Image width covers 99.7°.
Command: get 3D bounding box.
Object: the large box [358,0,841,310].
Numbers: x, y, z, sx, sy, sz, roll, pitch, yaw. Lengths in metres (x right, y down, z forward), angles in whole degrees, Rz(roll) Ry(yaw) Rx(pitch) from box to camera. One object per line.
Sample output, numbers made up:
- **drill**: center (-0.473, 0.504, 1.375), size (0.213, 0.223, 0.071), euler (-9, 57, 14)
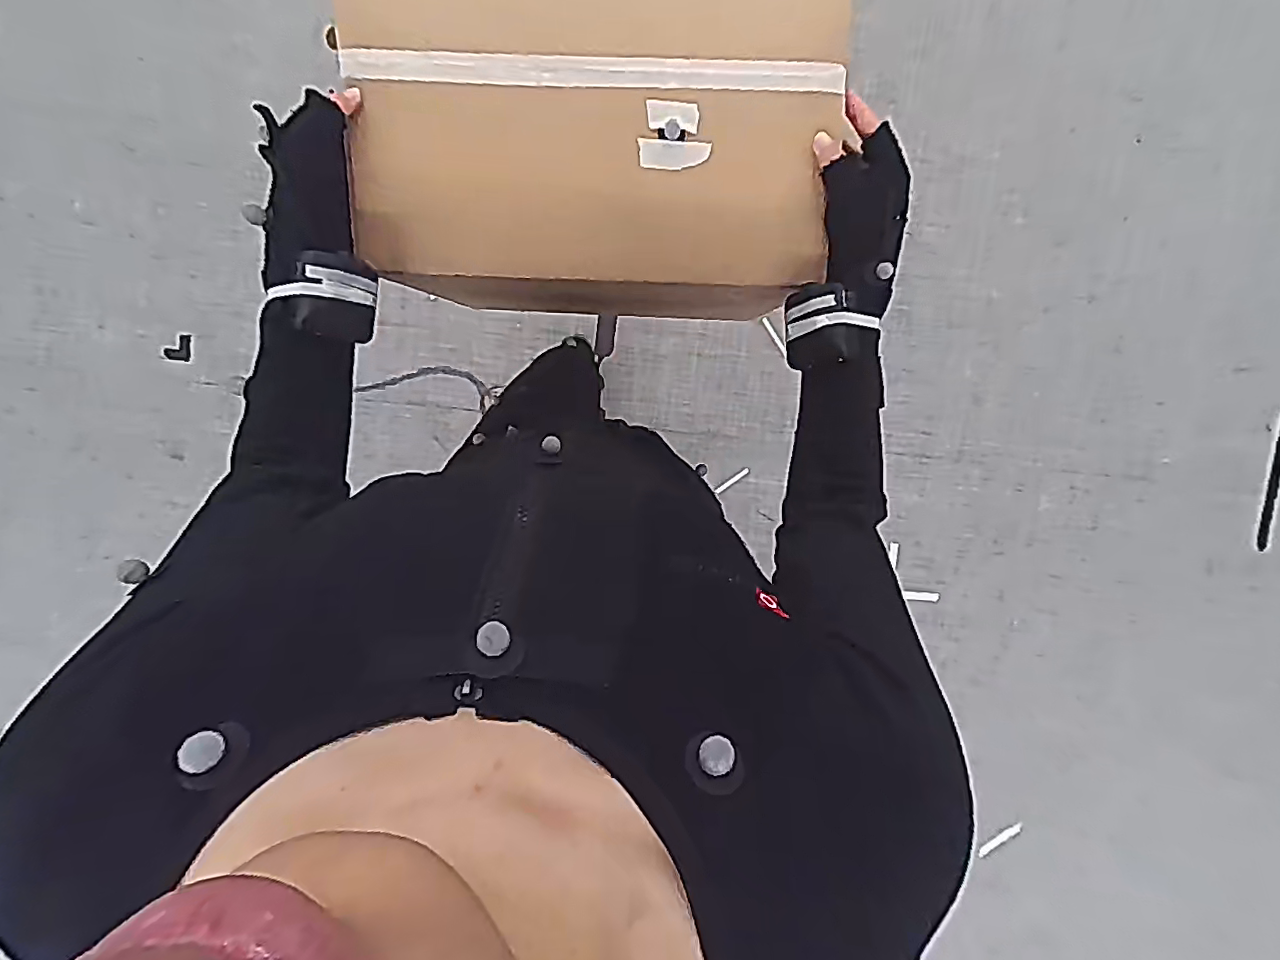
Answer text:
- **large box**: center (-0.037, -0.367, 0.599), size (0.408, 0.320, 0.320), euler (2, 102, -1)
